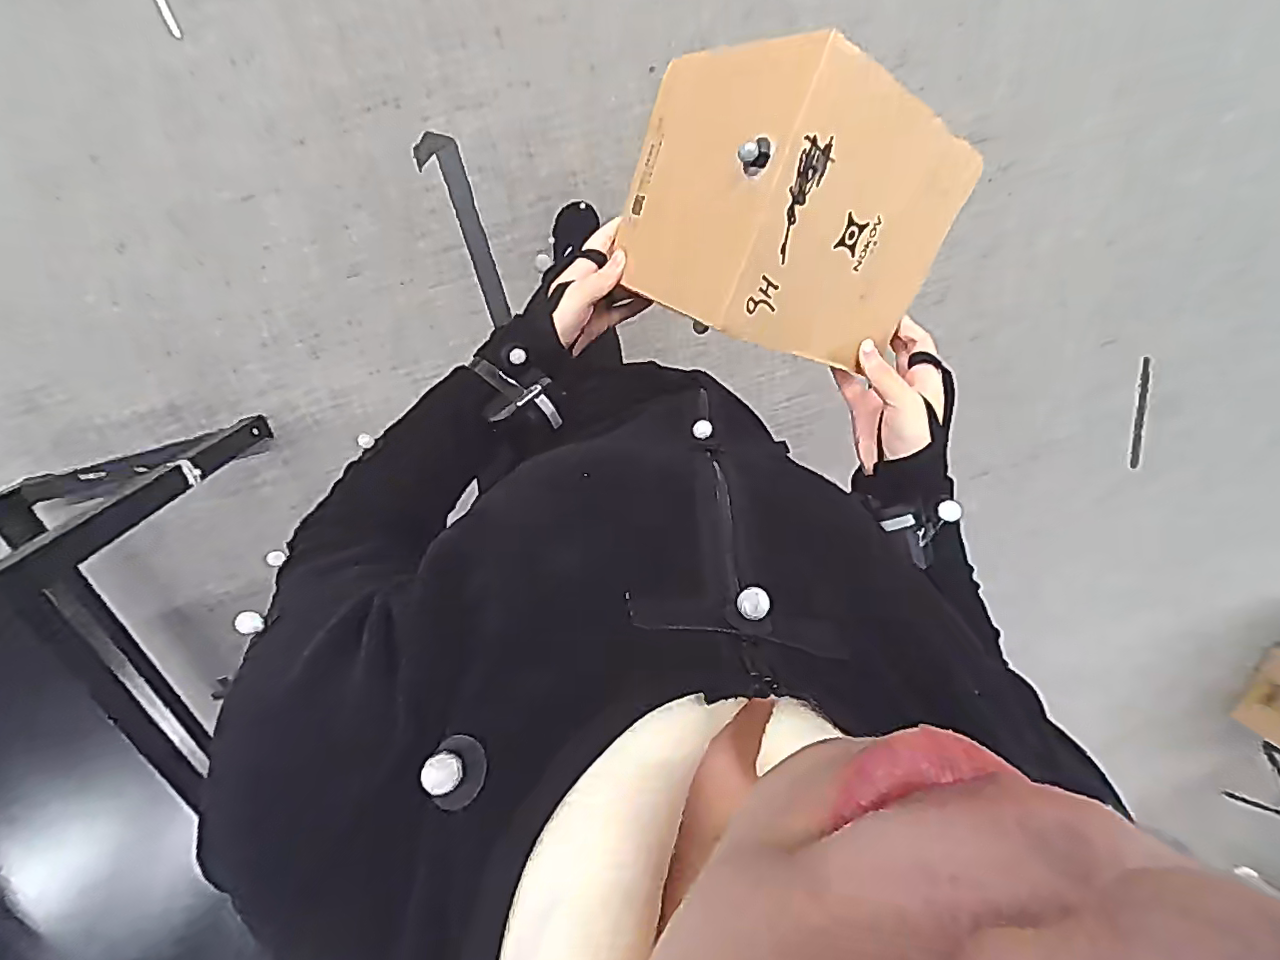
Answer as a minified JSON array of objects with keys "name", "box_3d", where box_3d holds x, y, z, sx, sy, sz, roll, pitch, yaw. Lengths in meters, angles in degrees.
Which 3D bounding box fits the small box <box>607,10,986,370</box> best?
[{"name":"small box","box_3d":[0.104,-0.201,0.408,0.179,0.176,0.168,5,115,-36]}]
